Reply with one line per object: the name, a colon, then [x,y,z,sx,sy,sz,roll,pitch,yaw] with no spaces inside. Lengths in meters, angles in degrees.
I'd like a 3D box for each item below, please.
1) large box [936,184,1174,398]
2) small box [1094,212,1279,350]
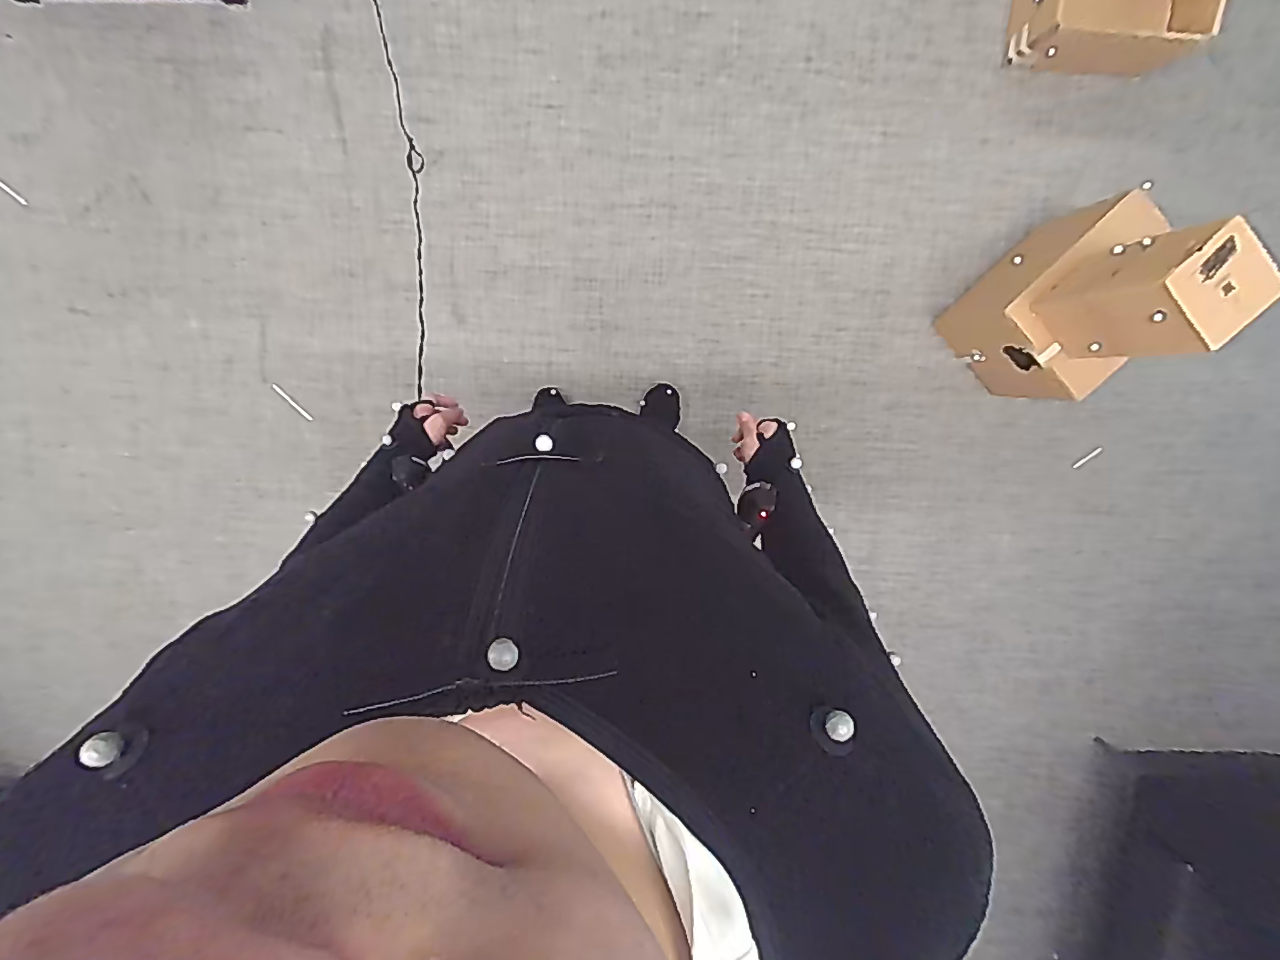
large box: [1.106,-0.466,1.434,0.320,0.320,0.408,44,96,-9]
small box: [1.038,-0.366,1.034,0.168,0.176,0.179,-43,99,6]
